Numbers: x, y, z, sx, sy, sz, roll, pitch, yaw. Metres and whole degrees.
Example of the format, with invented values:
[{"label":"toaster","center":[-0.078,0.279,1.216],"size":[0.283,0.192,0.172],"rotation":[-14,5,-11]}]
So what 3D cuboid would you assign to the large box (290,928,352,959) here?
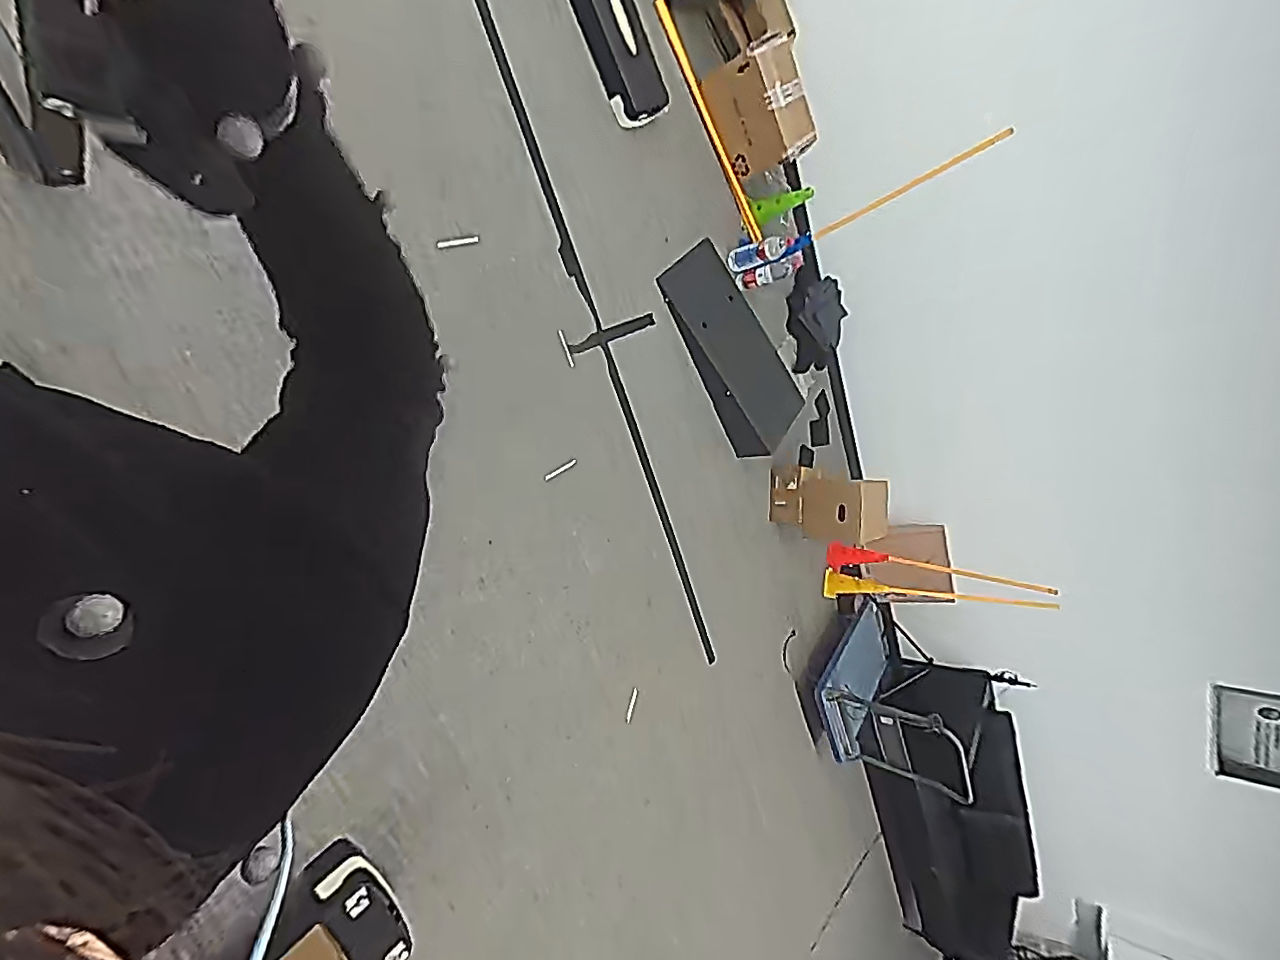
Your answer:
[{"label":"large box","center":[-0.658,1.193,0.997],"size":[0.408,0.320,0.320],"rotation":[-35,114,-42]}]

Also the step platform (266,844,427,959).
[{"label":"step platform","center":[-0.824,1.178,1.168],"size":[0.684,0.204,0.286],"rotation":[-28,108,-44]}]
